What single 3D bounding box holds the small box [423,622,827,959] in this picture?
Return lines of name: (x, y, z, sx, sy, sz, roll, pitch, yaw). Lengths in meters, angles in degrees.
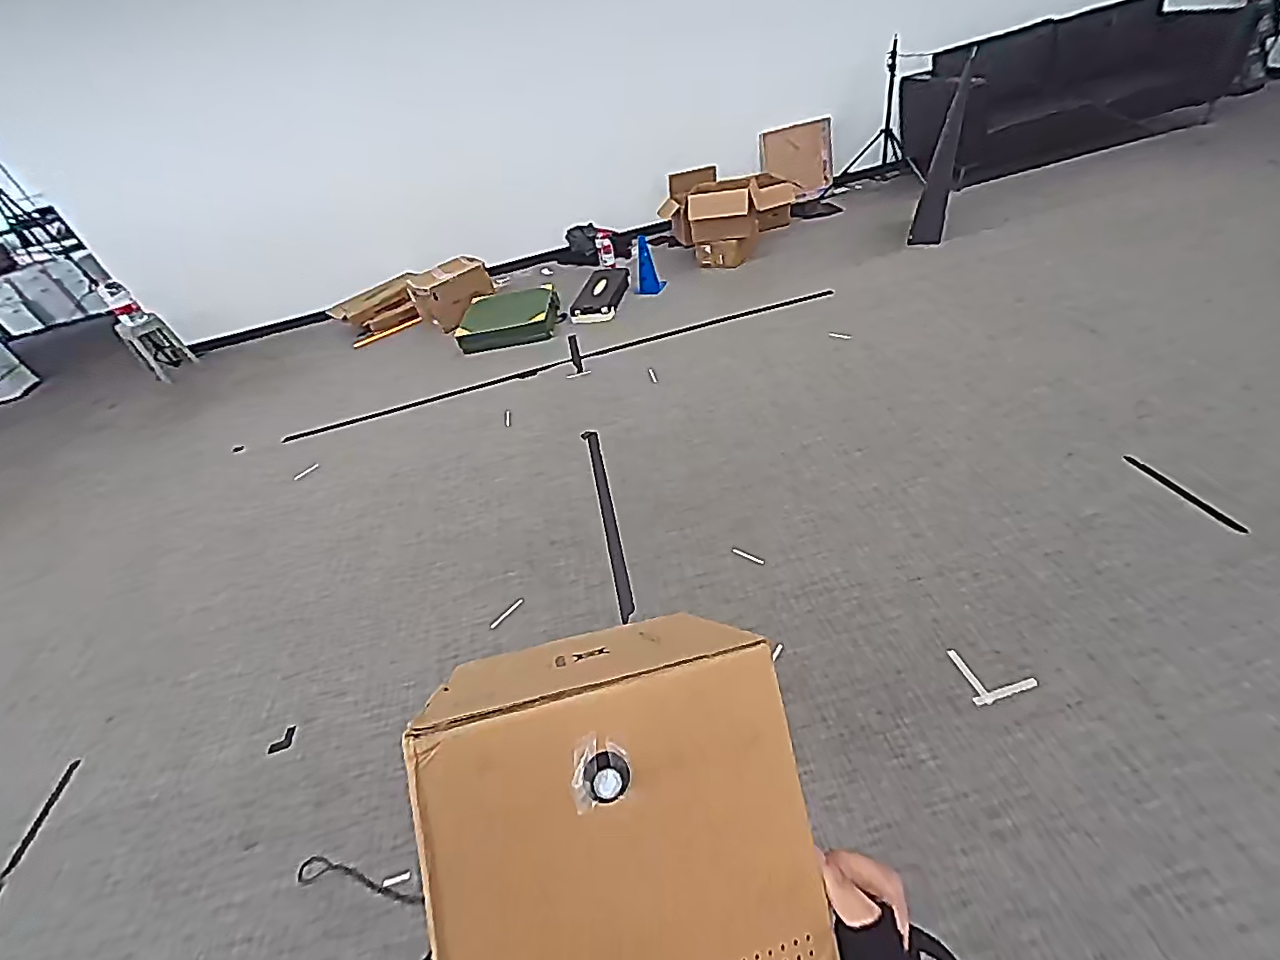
small box: (-0.015, 0.196, 0.333, 0.179, 0.168, 0.176, -10, 83, -12)
